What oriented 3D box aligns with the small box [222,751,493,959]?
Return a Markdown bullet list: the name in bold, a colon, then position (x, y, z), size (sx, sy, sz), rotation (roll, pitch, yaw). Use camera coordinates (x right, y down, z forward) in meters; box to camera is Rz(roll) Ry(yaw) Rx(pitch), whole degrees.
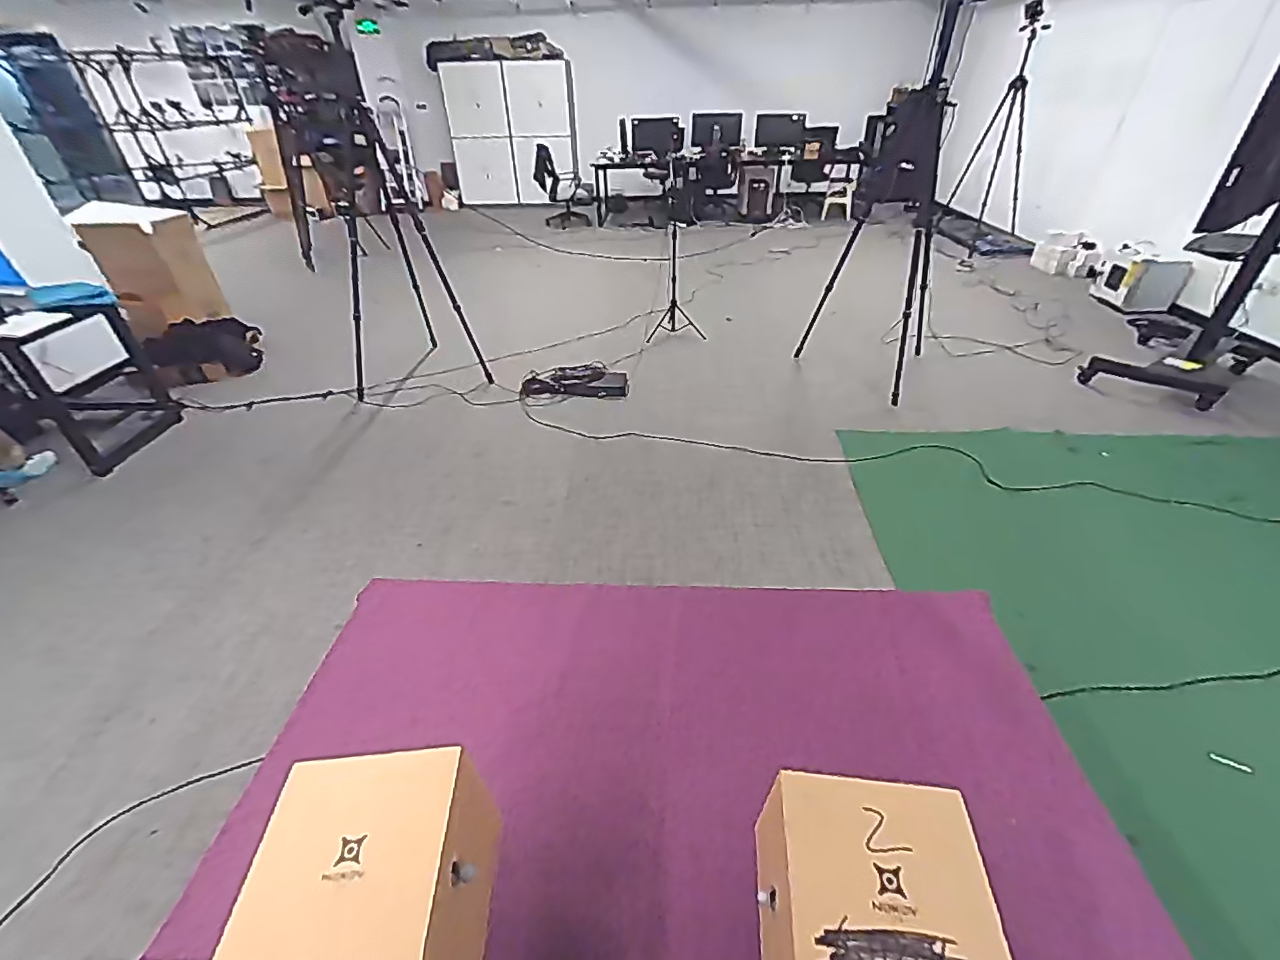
- **small box**: position (-0.248, 0.395, 0.526), size (0.168, 0.176, 0.179), rotation (-5, 39, -1)
